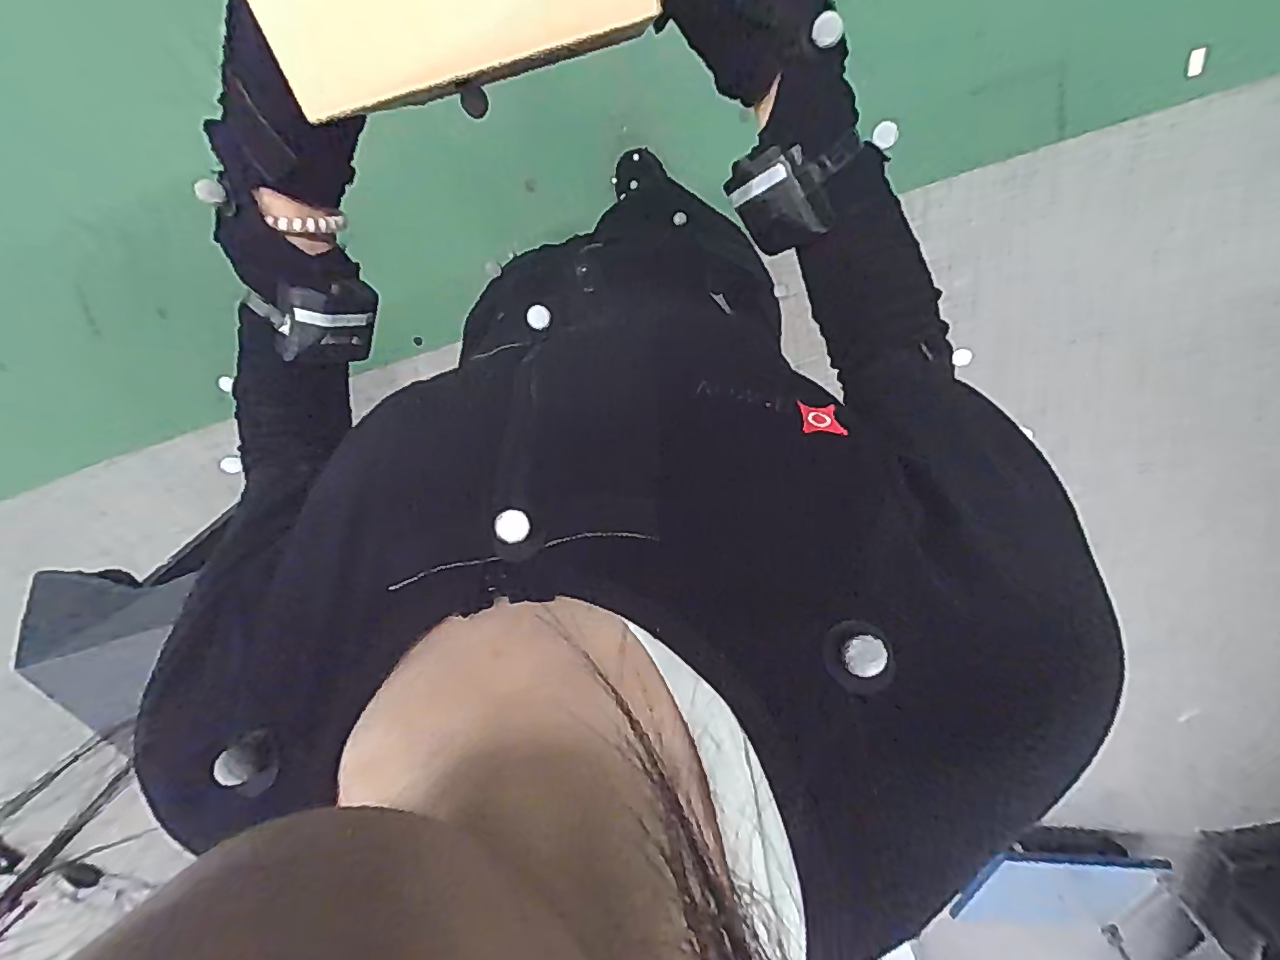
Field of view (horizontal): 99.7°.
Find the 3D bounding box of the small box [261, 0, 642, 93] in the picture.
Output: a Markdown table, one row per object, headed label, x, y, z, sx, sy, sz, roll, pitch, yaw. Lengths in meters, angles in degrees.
| label | x | y | z | sx | sy | sz | roll | pitch | yaw |
| --- | --- | --- | --- | --- | --- | --- | --- | --- | --- |
| small box | -0.091 | -0.304 | 0.247 | 0.168 | 0.176 | 0.179 | -12 | 125 | 6 |
